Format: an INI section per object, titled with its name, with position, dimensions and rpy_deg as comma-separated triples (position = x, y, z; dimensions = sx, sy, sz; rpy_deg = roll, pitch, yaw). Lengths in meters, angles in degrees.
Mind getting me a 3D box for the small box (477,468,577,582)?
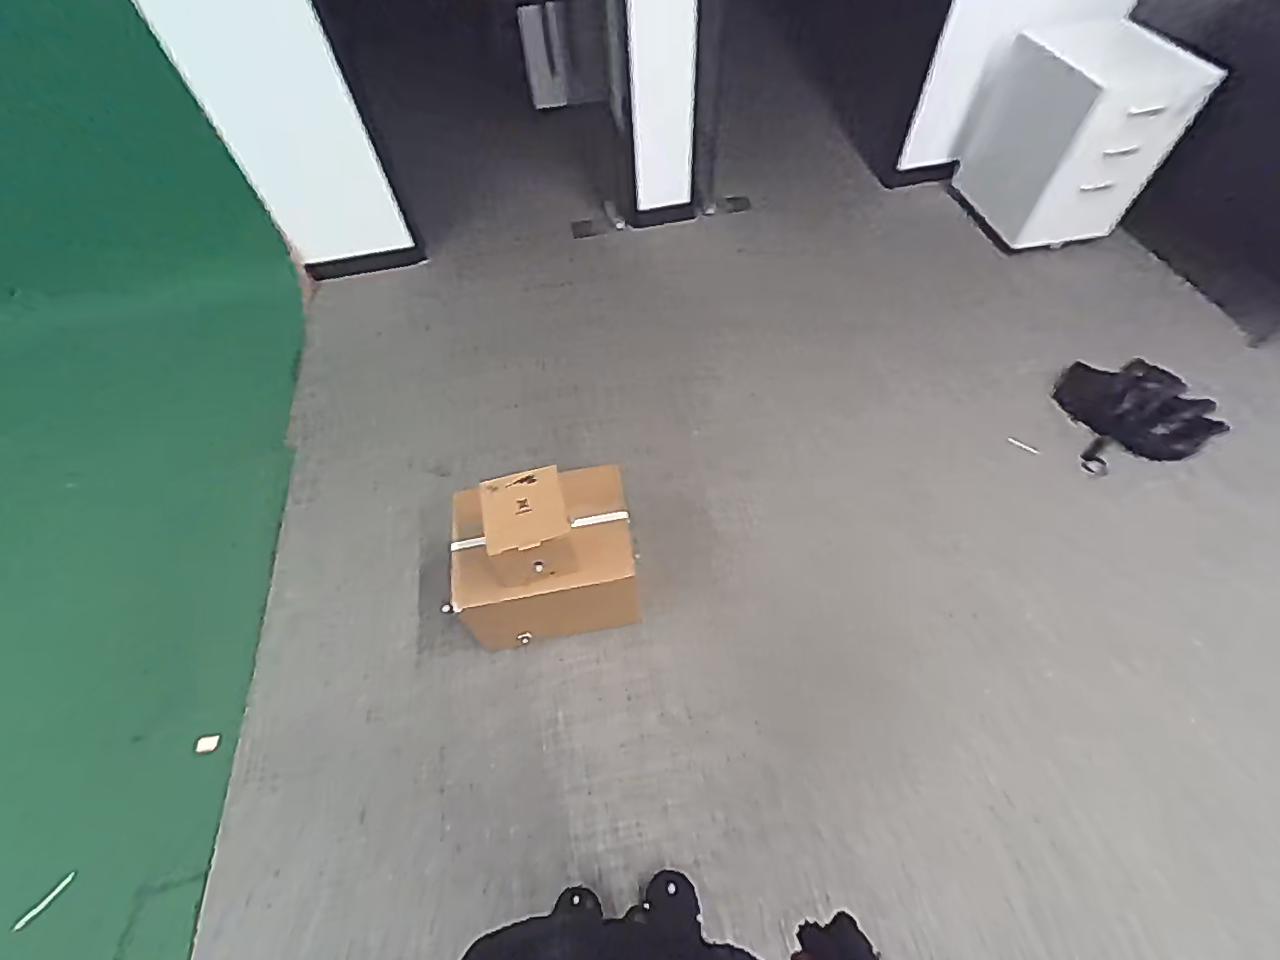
[small box]
position = -0.239, 0.105, 1.159
dimensions = 0.168, 0.176, 0.179
rpy_deg = -13, 58, -6
